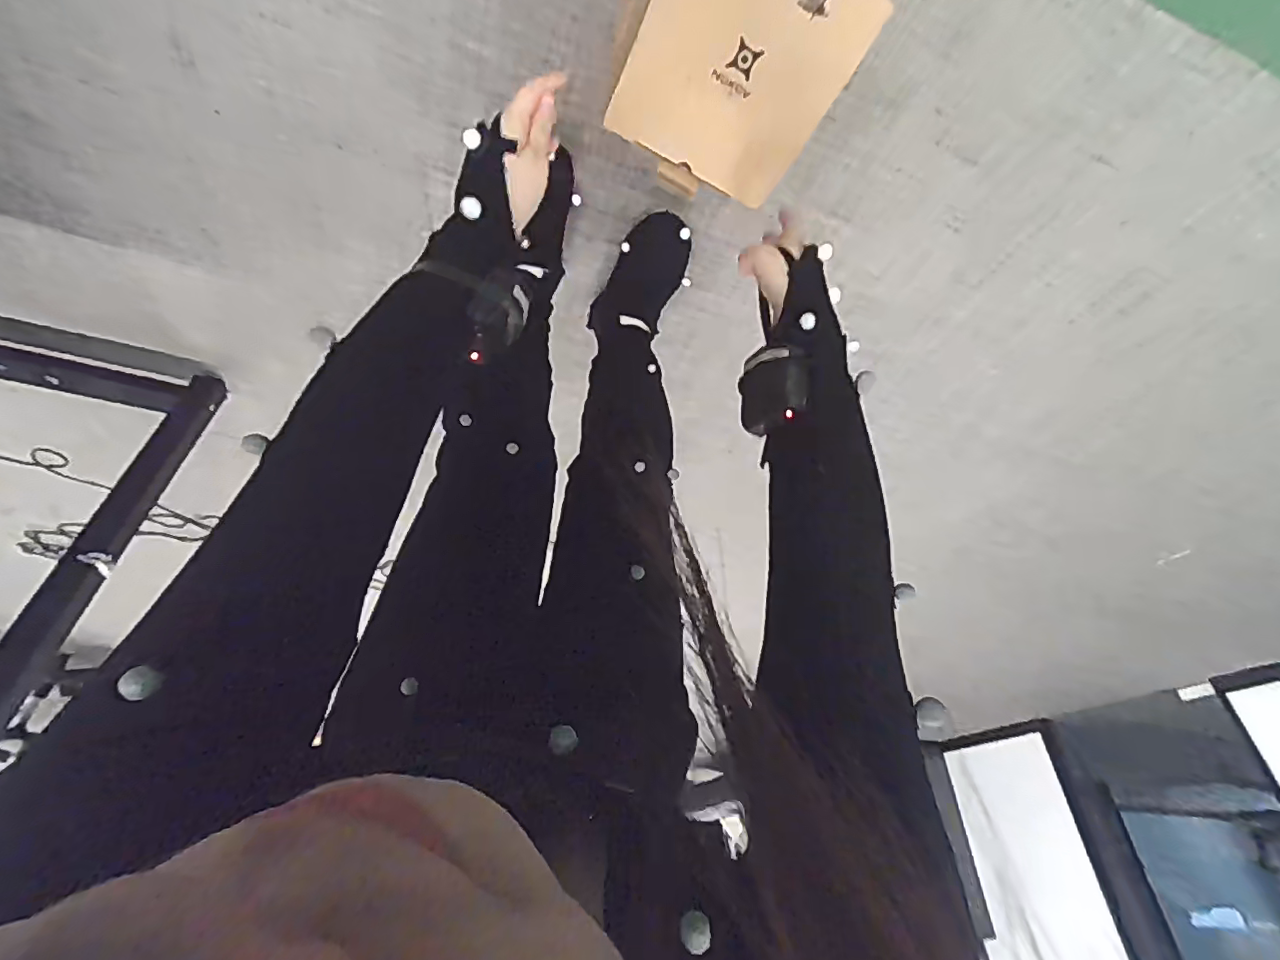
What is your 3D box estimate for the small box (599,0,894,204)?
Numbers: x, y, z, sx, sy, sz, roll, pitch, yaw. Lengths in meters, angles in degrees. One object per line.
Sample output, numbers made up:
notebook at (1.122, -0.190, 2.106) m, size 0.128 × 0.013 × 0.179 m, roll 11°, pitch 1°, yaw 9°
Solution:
small box at (0.079, -0.392, 0.468) m, size 0.168 × 0.176 × 0.179 m, roll 18°, pitch 141°, yaw -20°
